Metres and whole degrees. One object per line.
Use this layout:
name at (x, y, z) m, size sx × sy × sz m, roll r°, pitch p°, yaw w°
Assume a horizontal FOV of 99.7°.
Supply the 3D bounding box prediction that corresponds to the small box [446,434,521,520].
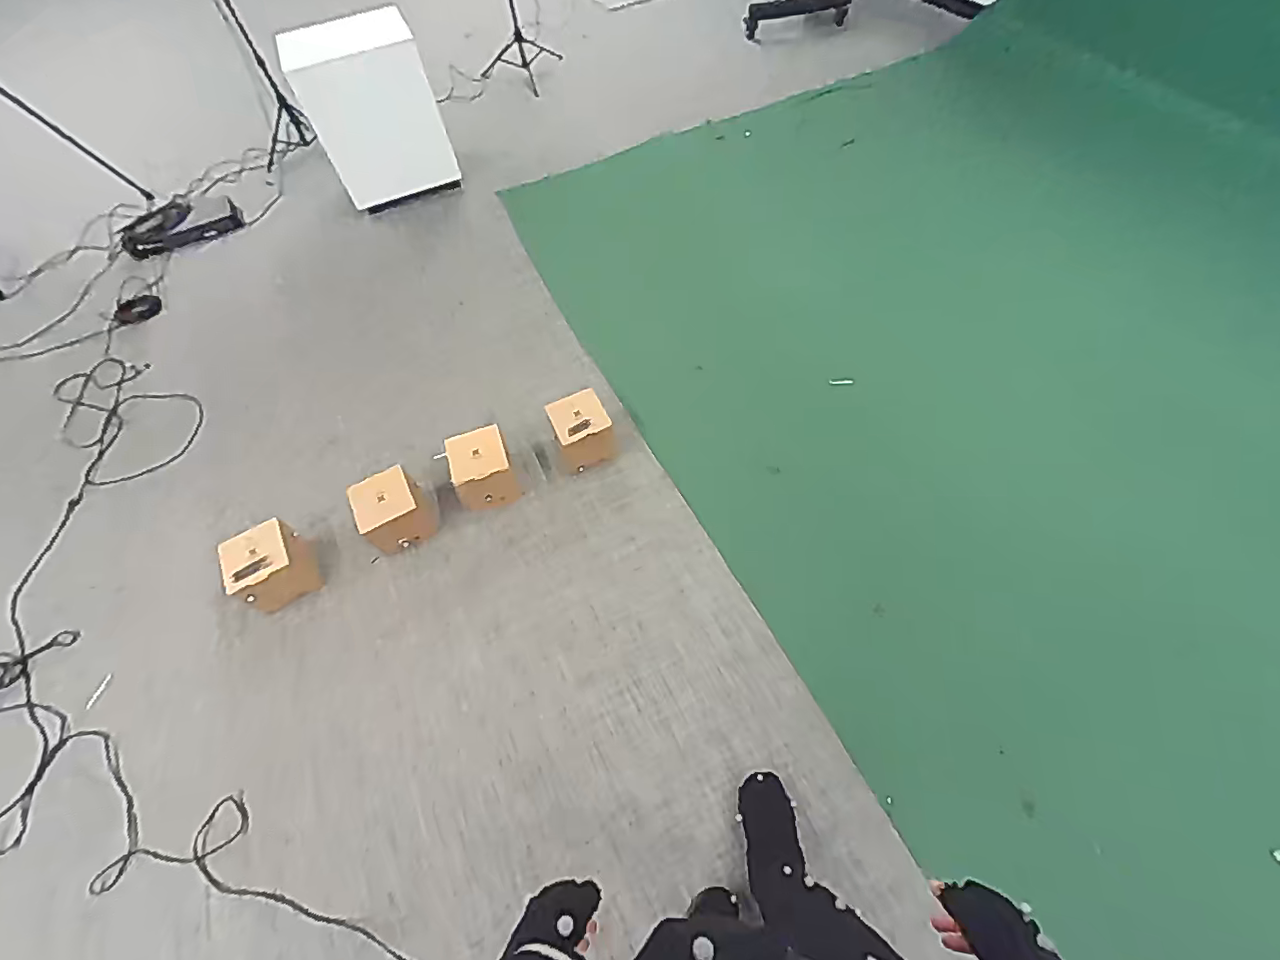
small box at (-0.478, -0.008, 1.660) m, size 0.168 × 0.176 × 0.179 m, roll -19°, pitch 58°, yaw -8°

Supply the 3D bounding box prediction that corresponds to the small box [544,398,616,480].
small box at (-0.184, -0.121, 1.713) m, size 0.168 × 0.176 × 0.179 m, roll -23°, pitch 58°, yaw -11°

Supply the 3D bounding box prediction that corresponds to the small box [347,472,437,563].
small box at (-0.728, 0.115, 1.598) m, size 0.168 × 0.176 × 0.179 m, roll -28°, pitch 61°, yaw -11°
